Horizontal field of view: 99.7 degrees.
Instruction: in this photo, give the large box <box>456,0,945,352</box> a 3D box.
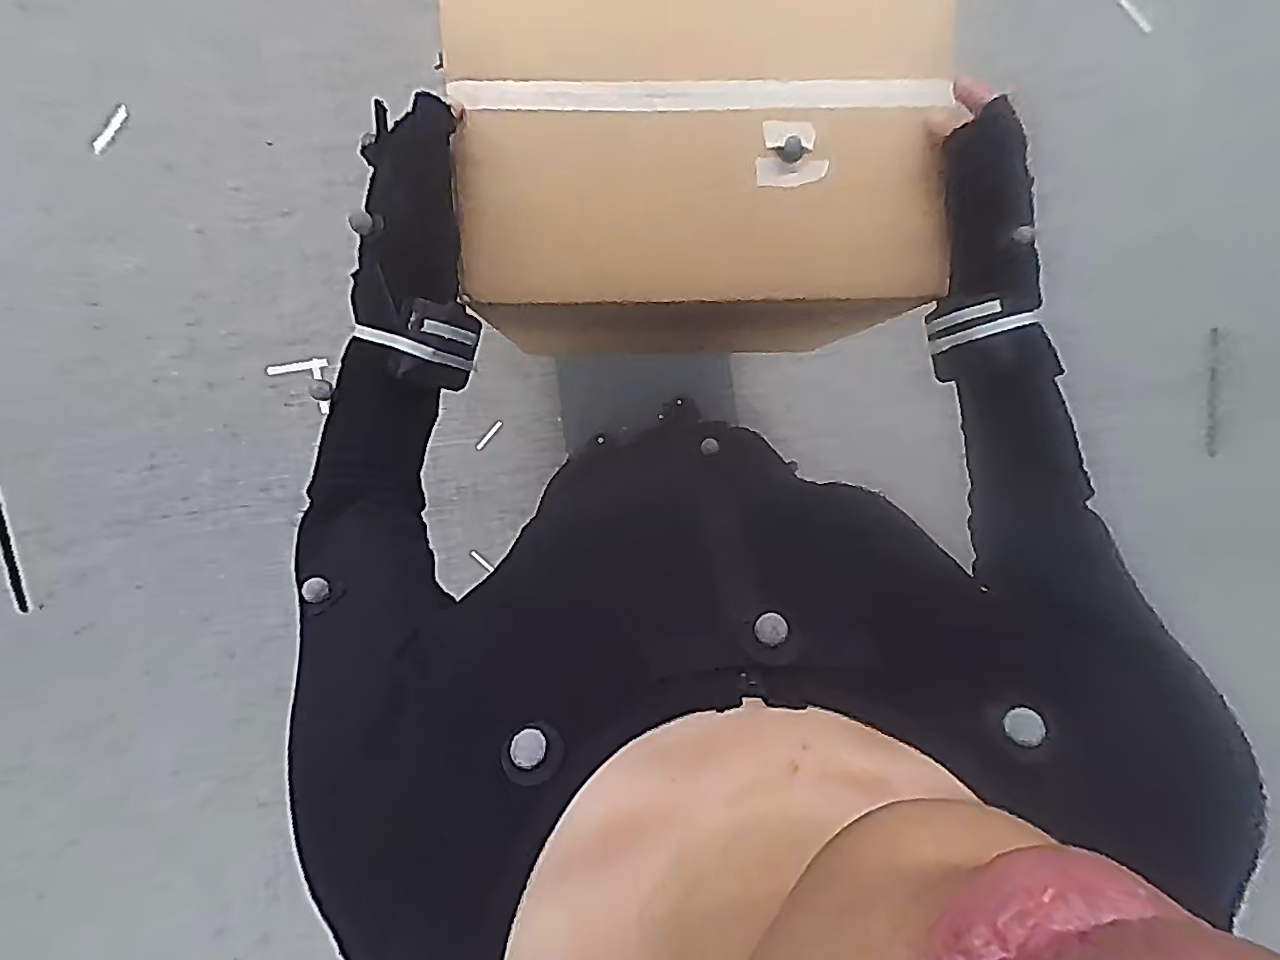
[{"bbox_3d":[0.046,-0.324,0.592,0.408,0.320,0.320,-2,96,-3],"label":"large box"}]
